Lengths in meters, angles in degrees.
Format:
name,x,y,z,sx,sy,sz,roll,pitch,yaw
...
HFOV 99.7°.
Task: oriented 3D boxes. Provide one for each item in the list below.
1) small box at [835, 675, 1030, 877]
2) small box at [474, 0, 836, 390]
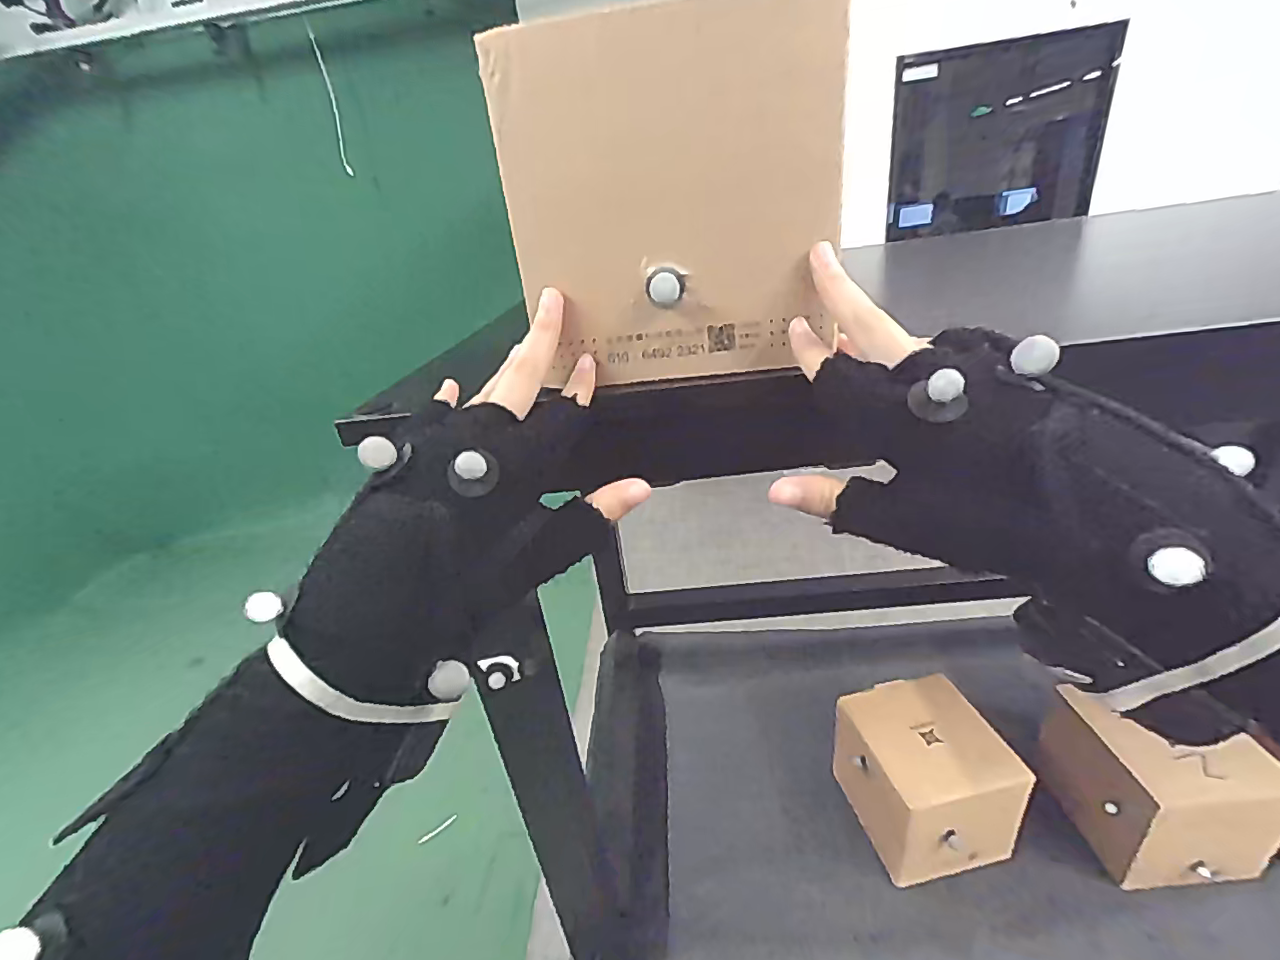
name,x,y,z,sx,sy,sz,roll,pitch,yaw
small box,0.386,0.409,0.747,0.168,0.176,0.179,-10,26,-5
small box,0.019,-0.165,0.347,0.168,0.176,0.179,-5,27,8
